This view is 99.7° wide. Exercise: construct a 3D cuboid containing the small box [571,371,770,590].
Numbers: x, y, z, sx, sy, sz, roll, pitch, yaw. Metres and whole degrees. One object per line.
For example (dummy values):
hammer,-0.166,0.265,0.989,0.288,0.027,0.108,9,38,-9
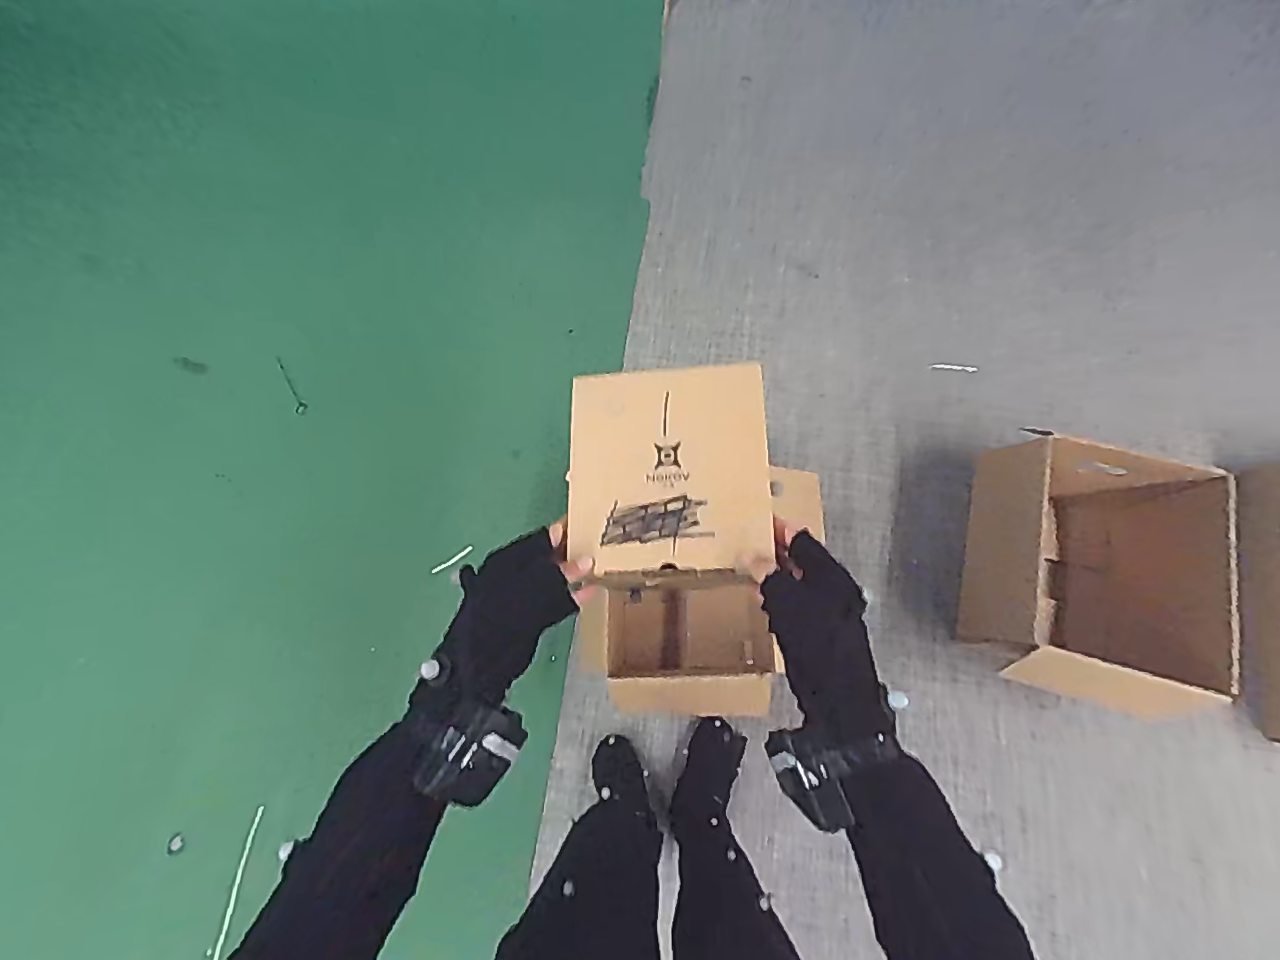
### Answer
small box,0.037,0.015,0.529,0.168,0.176,0.179,-3,72,9
